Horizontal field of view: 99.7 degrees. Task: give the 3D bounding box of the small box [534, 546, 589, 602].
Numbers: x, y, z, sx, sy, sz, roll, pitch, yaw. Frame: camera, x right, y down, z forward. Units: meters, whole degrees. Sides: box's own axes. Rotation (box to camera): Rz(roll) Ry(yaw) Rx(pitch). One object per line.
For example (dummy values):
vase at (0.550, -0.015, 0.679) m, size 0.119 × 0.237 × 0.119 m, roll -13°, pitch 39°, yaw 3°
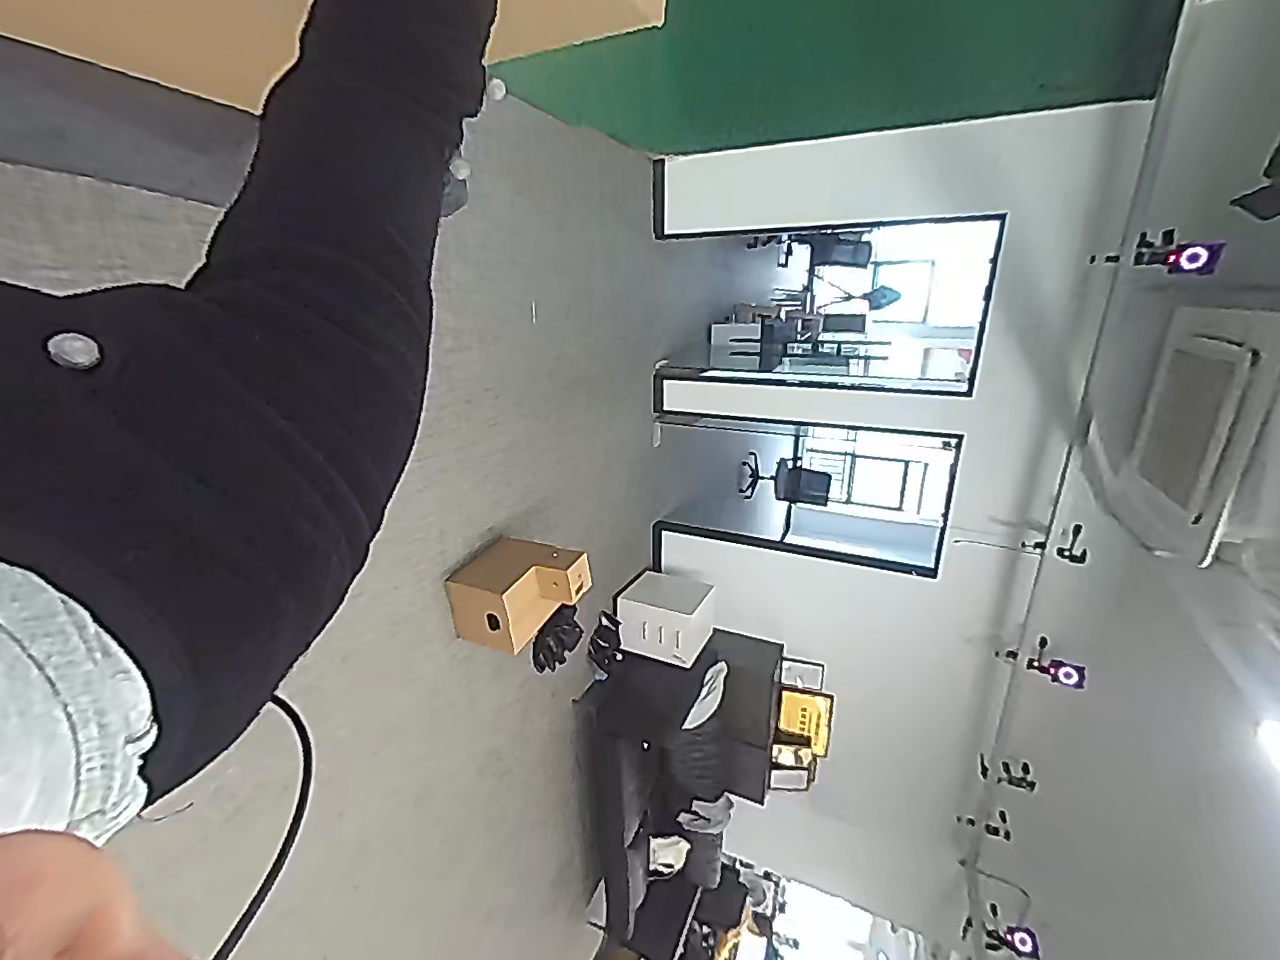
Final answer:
small box at (-0.348, 0.412, 2.399) m, size 0.168 × 0.176 × 0.179 m, roll -43°, pitch 131°, yaw -56°
